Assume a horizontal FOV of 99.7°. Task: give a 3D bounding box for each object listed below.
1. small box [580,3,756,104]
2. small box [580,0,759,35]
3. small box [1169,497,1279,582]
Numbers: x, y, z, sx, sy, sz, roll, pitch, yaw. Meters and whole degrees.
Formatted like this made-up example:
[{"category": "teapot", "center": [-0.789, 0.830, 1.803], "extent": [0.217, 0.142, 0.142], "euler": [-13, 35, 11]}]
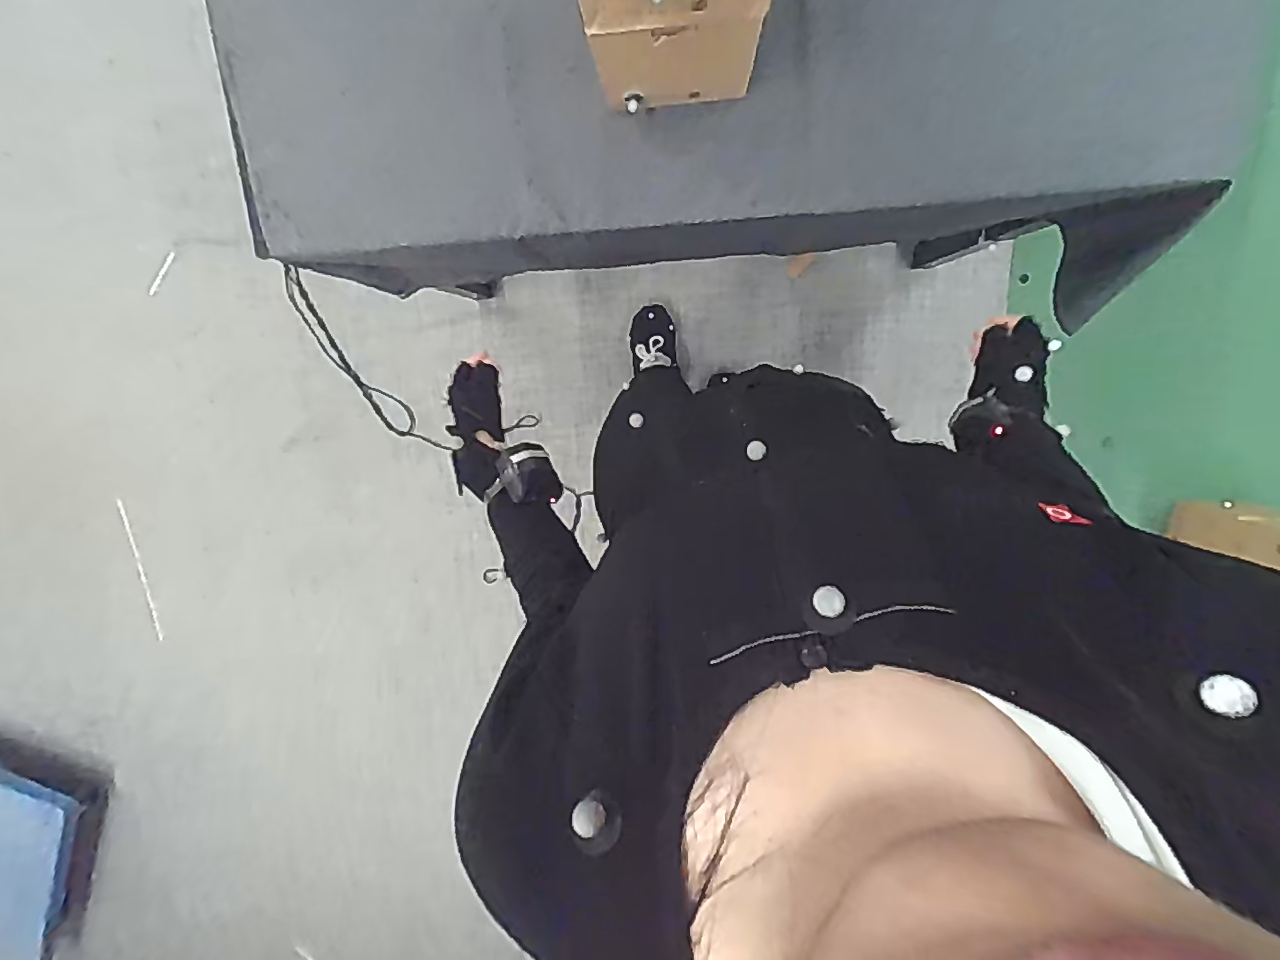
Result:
[{"category": "small box", "center": [0.029, -0.520, 0.559], "extent": [0.168, 0.176, 0.179], "euler": [-3, 101, 5]}, {"category": "small box", "center": [0.018, -0.484, 0.401], "extent": [0.168, 0.176, 0.179], "euler": [-3, 103, 5]}, {"category": "small box", "center": [1.484, 0.141, 1.339], "extent": [0.179, 0.176, 0.168], "euler": [2, 103, 4]}]
